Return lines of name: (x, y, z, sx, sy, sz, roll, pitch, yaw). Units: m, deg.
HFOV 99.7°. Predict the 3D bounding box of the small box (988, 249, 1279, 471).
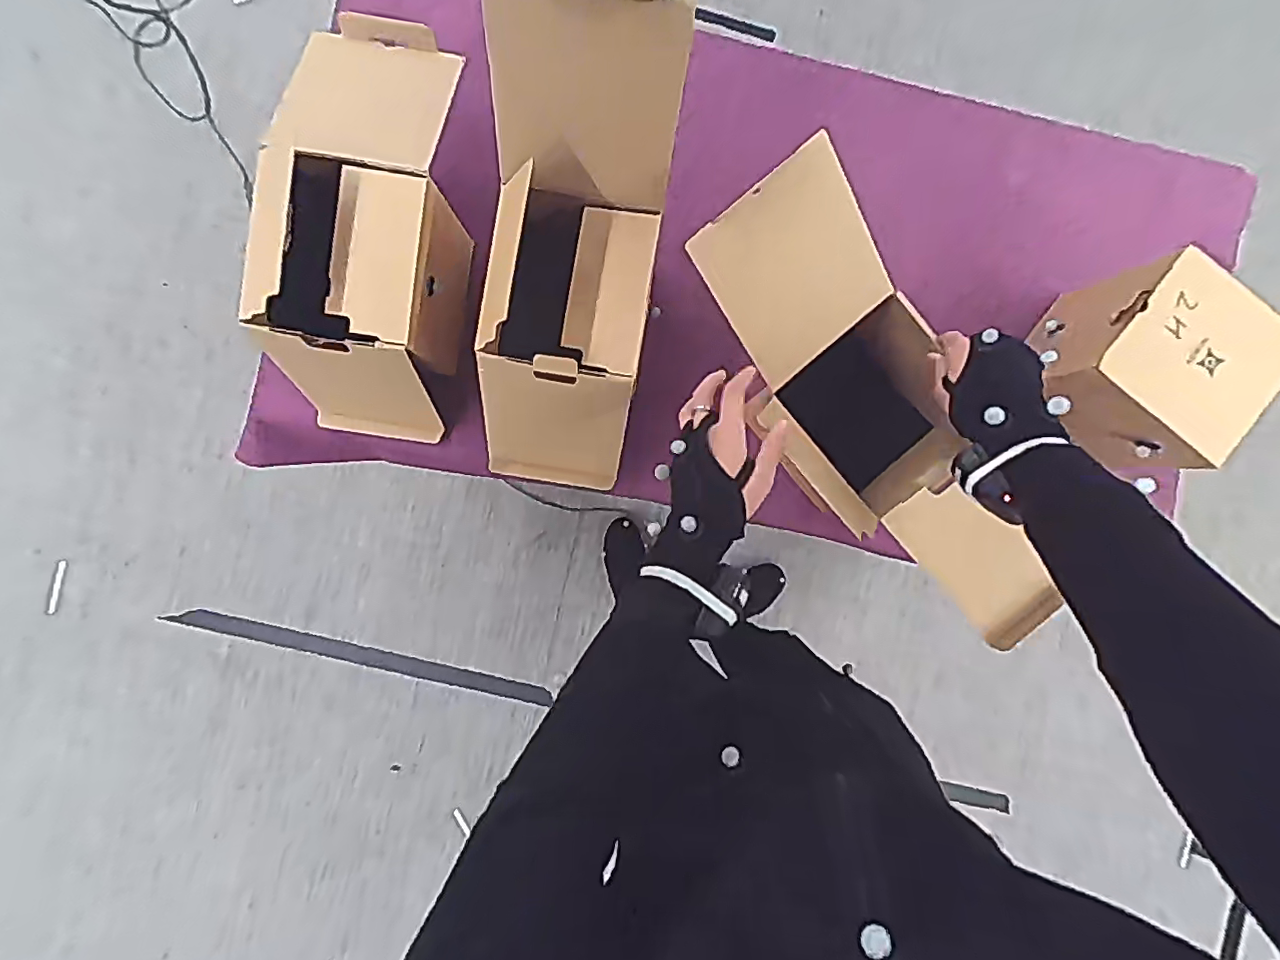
small box: (0.576, -0.128, 0.643, 0.179, 0.176, 0.168, 38, 89, -2)
